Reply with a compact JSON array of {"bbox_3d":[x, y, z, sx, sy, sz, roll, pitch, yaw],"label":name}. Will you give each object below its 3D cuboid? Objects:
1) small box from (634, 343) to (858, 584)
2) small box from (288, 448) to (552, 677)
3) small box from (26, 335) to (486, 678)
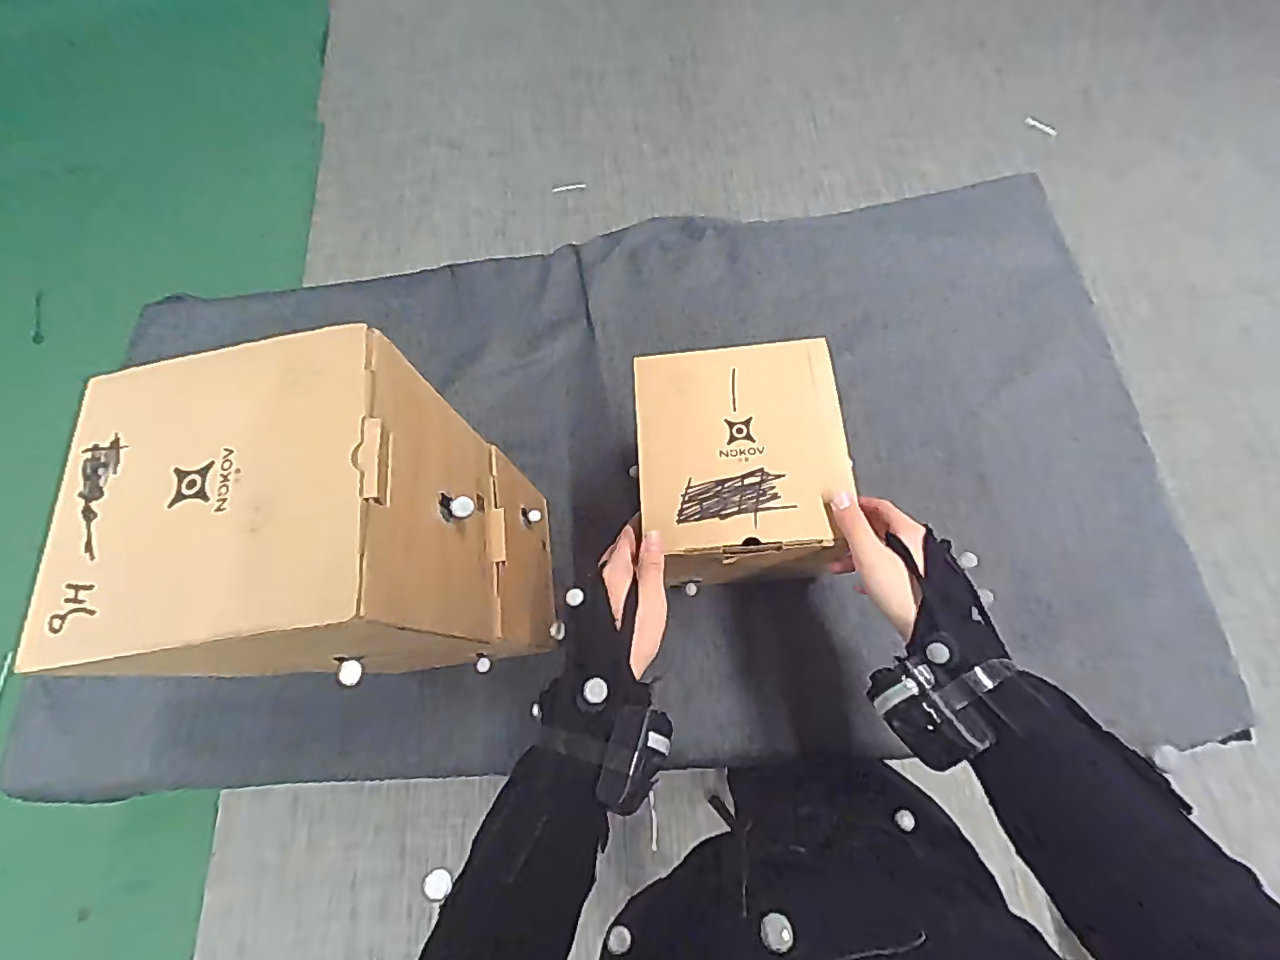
[{"bbox_3d":[0.088,-0.001,0.506,0.168,0.176,0.179,-4,69,5],"label":"small box"},{"bbox_3d":[-0.187,0.088,0.510,0.179,0.176,0.168,-10,68,4],"label":"small box"},{"bbox_3d":[-0.210,0.033,0.356,0.179,0.176,0.168,-9,69,4],"label":"small box"}]
